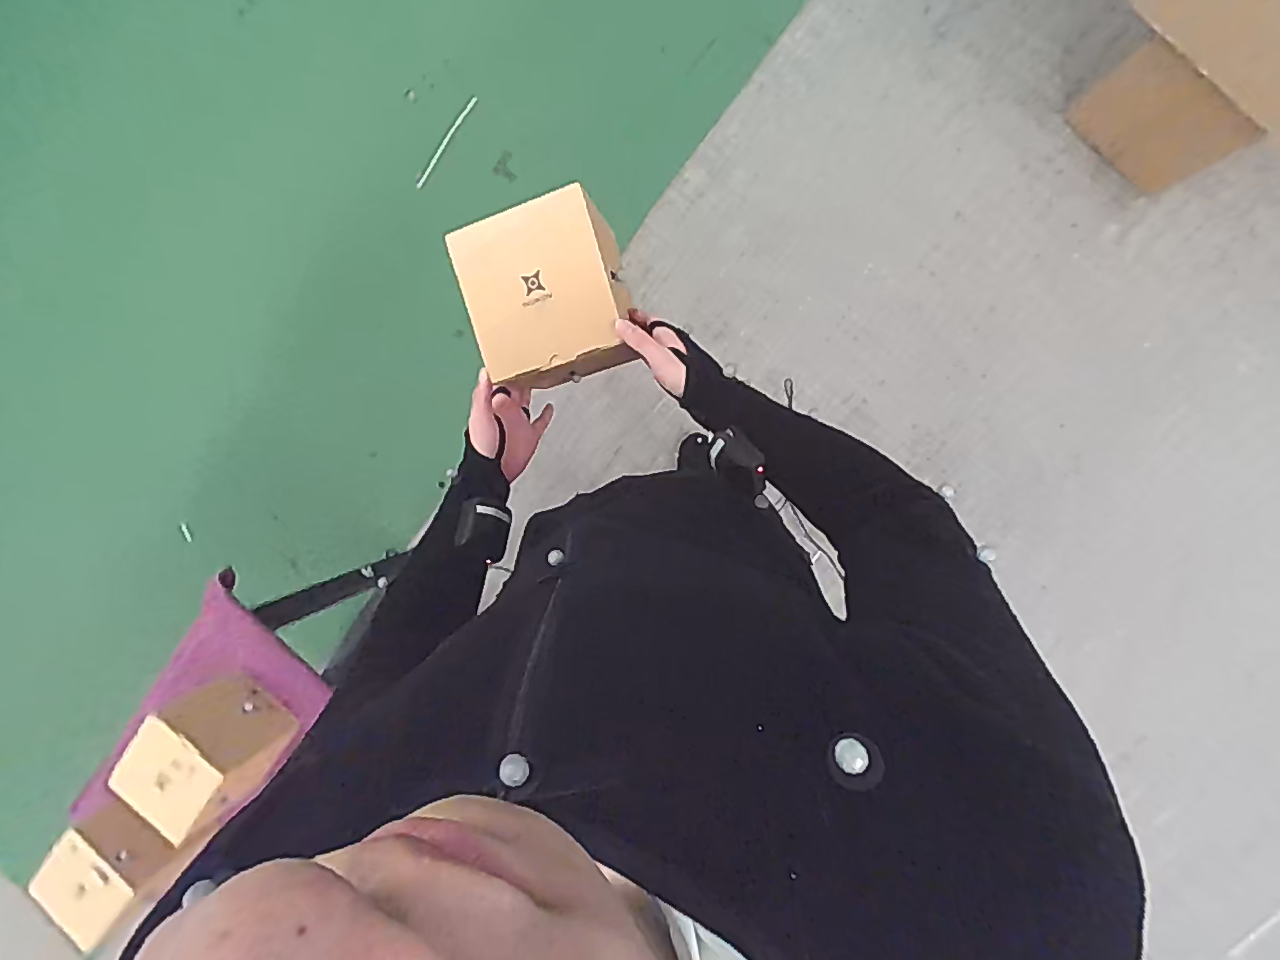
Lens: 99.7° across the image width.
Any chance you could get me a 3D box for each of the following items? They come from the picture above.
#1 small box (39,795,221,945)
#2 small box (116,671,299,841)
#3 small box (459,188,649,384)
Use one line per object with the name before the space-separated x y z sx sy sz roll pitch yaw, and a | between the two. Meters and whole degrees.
small box | -0.972 0.719 1.046 0.168 0.176 0.179 40 100 2
small box | -0.775 0.493 0.988 0.168 0.176 0.179 38 100 1
small box | -0.094 -0.224 0.676 0.168 0.176 0.179 -15 98 9
